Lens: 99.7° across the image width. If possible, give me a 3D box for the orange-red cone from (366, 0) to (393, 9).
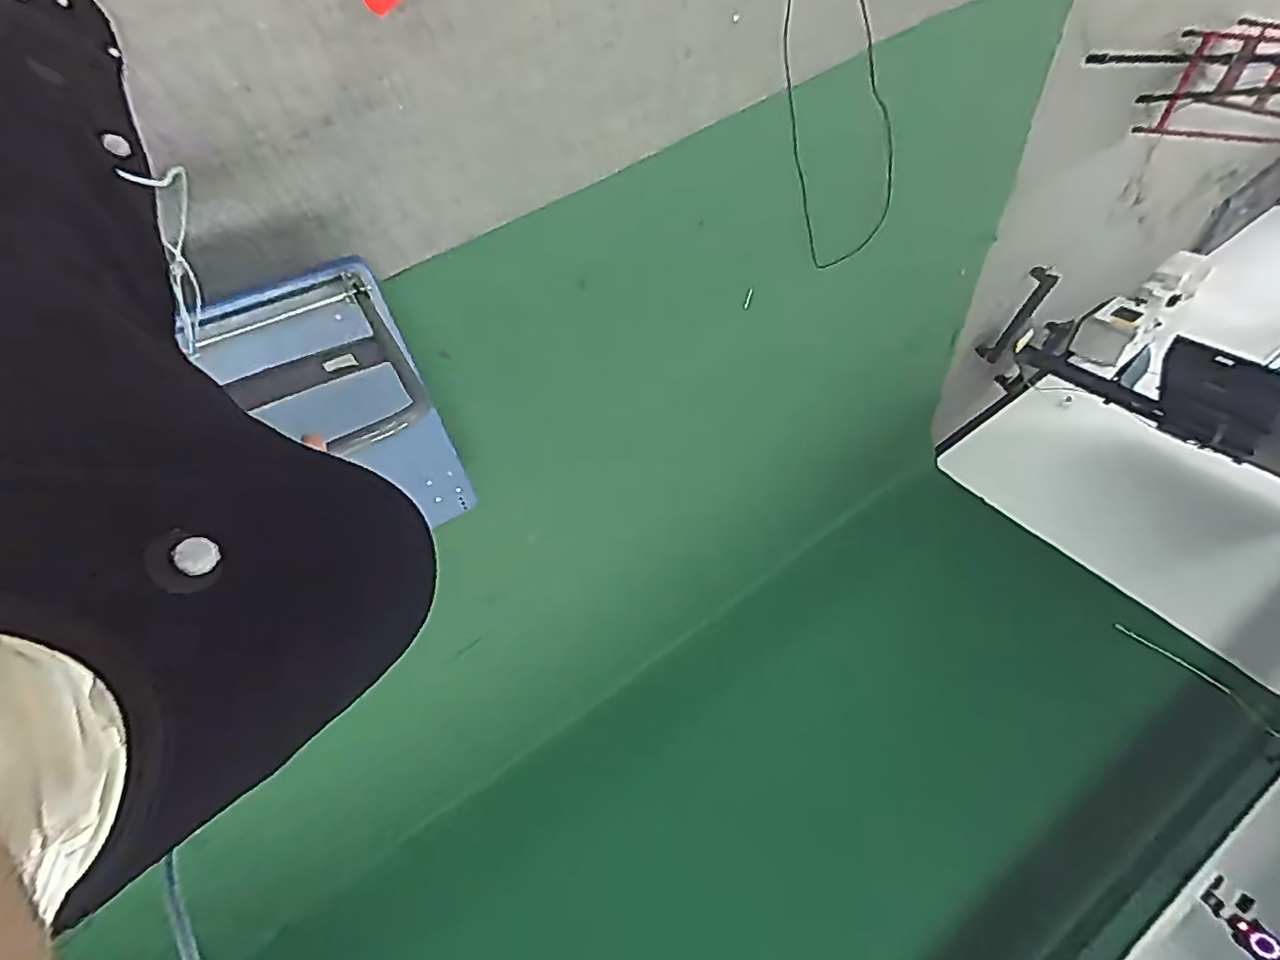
[{"bbox_3d":[-0.418,-0.979,0.950,0.199,0.360,0.198,-42,144,-2],"label":"orange-red cone"}]
